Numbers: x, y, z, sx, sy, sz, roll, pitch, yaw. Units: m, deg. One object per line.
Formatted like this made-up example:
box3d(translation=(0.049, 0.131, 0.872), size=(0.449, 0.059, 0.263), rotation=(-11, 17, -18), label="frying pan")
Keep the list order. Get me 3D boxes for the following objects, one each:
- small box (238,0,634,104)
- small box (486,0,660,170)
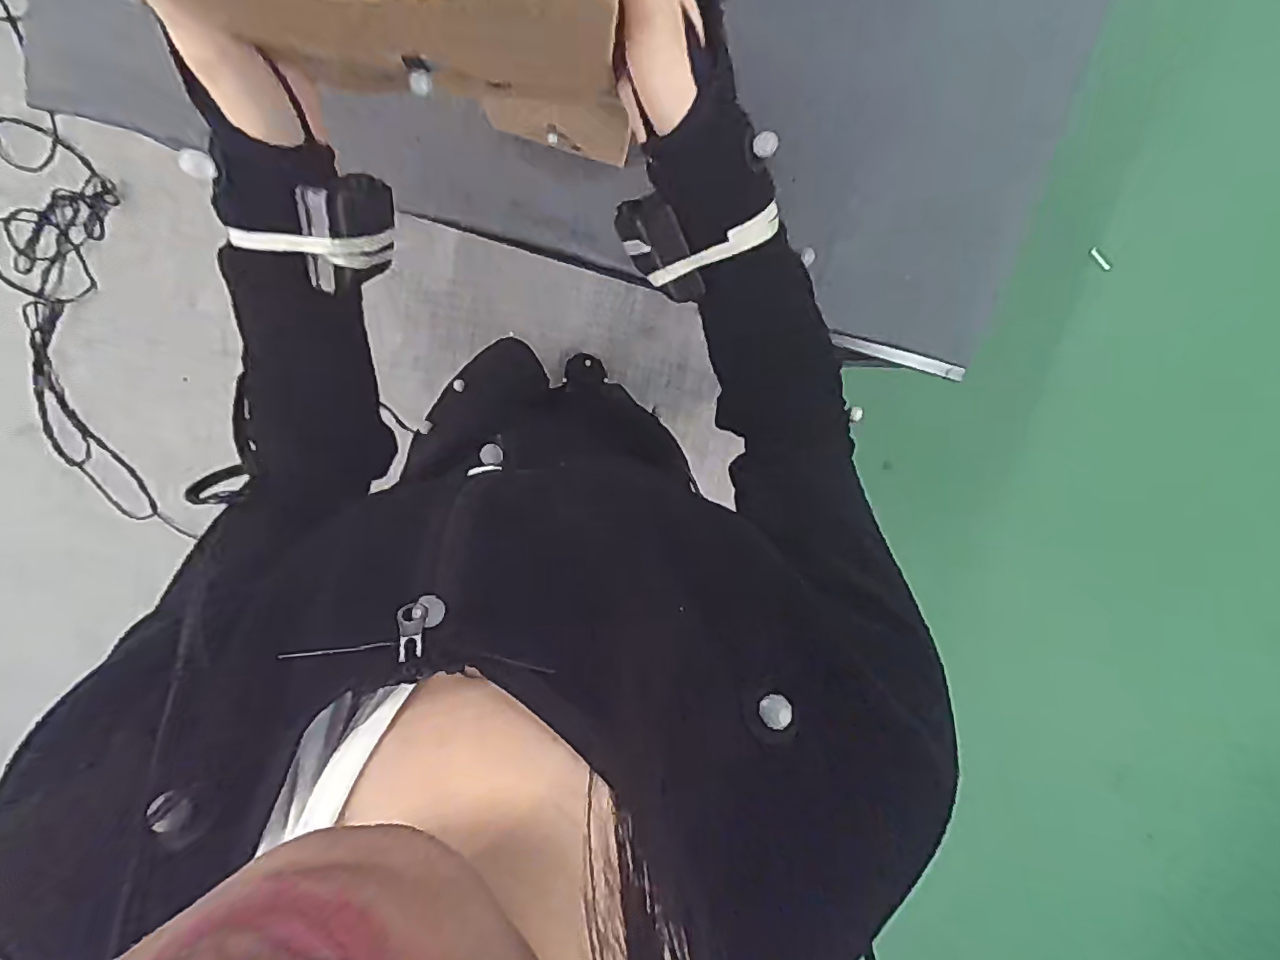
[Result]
box3d(translation=(-0.088, -0.276, 0.215), size=(0.168, 0.176, 0.179), rotation=(-1, 115, -5), label="small box")
box3d(translation=(-0.074, -0.472, 0.579), size=(0.168, 0.176, 0.179), rotation=(13, 100, -7), label="small box")
